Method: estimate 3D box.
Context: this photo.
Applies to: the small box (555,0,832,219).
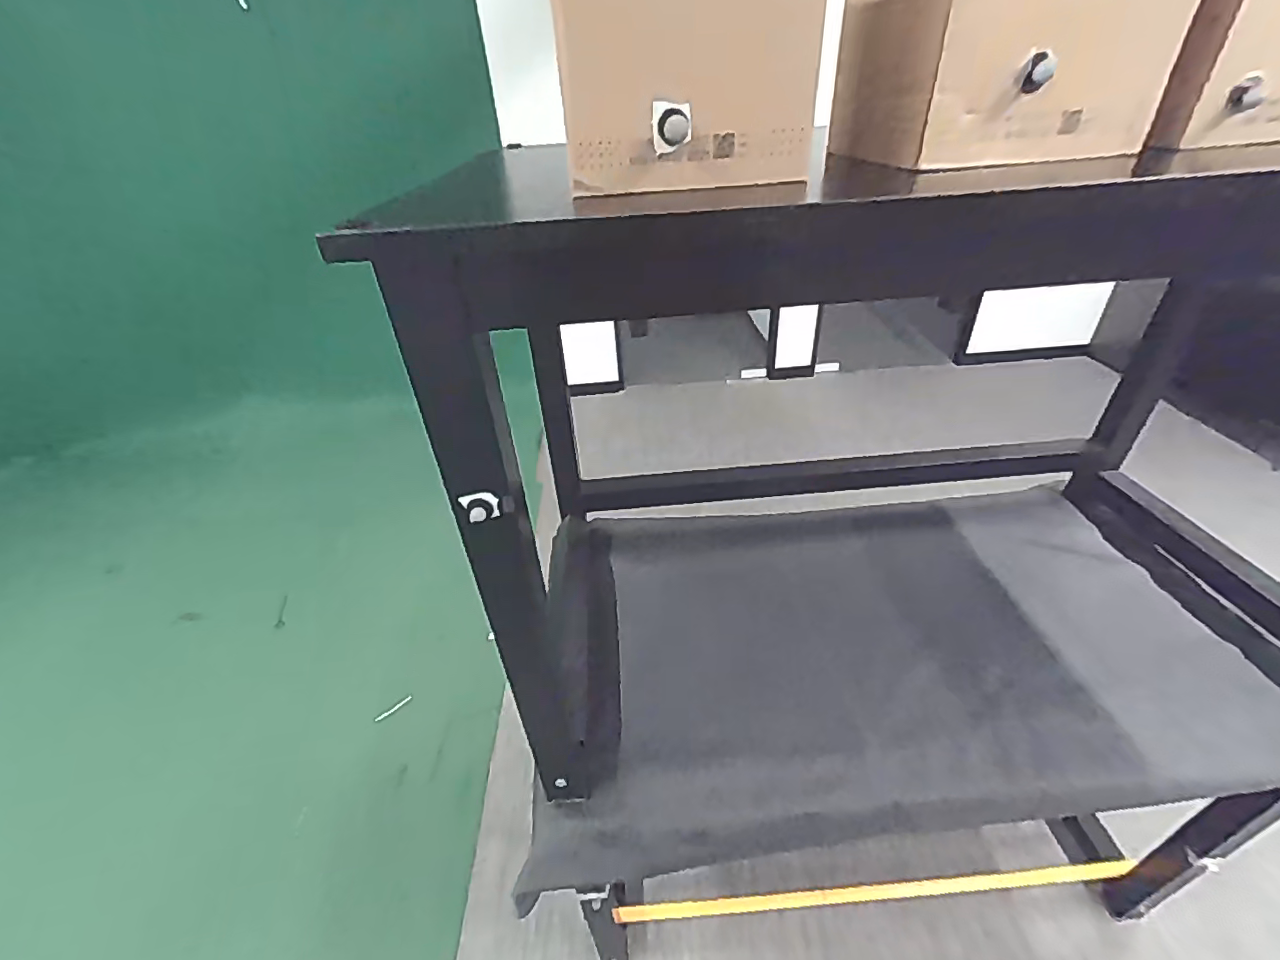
[{"bbox_3d":[0.026,-0.300,0.400,0.168,0.176,0.179,-7,37,-2],"label":"small box"}]
